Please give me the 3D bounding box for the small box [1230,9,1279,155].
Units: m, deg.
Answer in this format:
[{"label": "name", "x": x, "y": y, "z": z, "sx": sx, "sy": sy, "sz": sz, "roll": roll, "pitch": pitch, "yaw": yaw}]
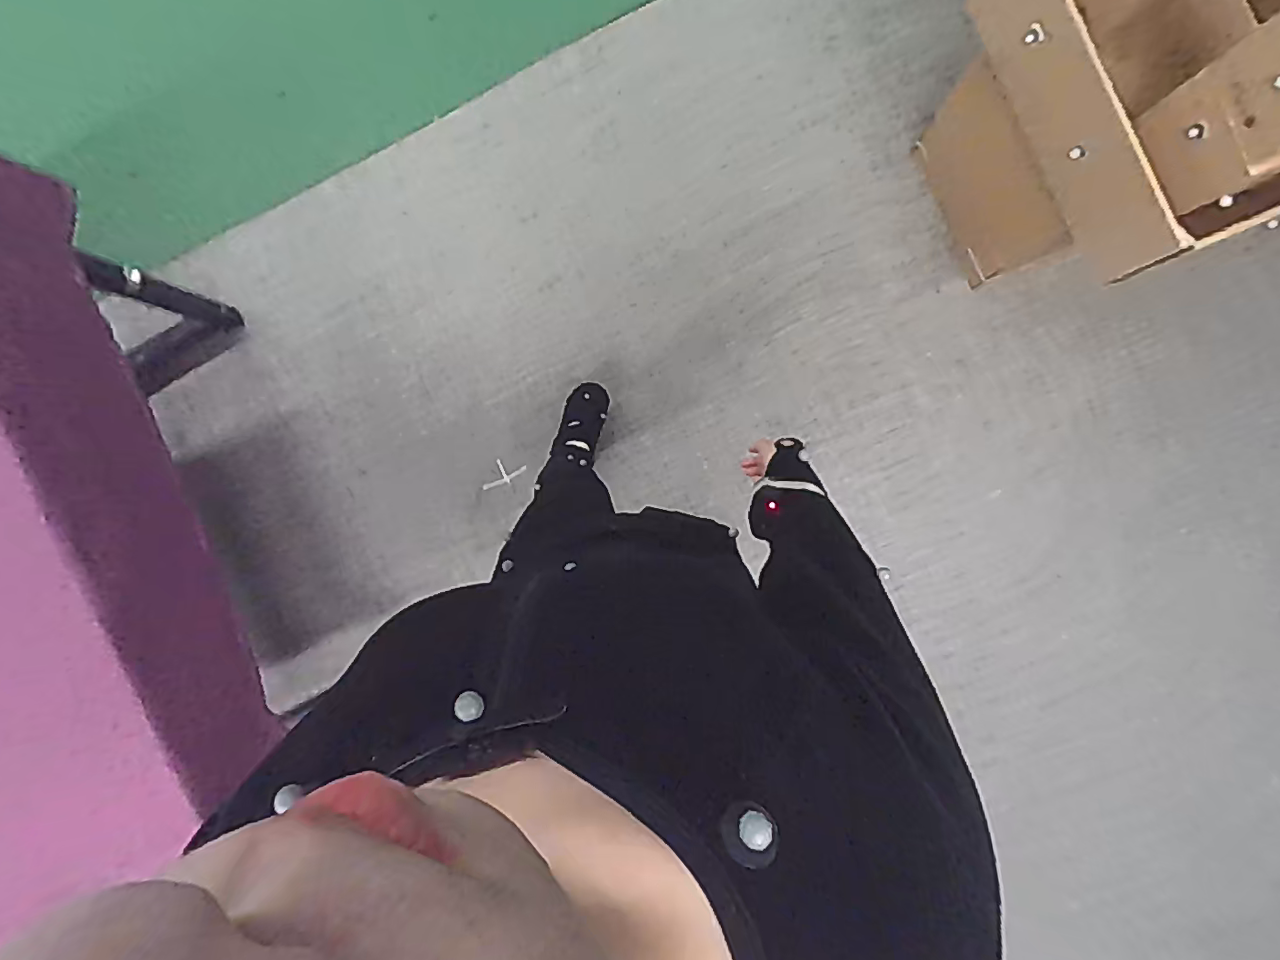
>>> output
[{"label": "small box", "x": 0.924, "y": -0.558, "z": 0.686, "sx": 0.179, "sy": 0.176, "sz": 0.168, "roll": -21, "pitch": 90, "yaw": 5}]
